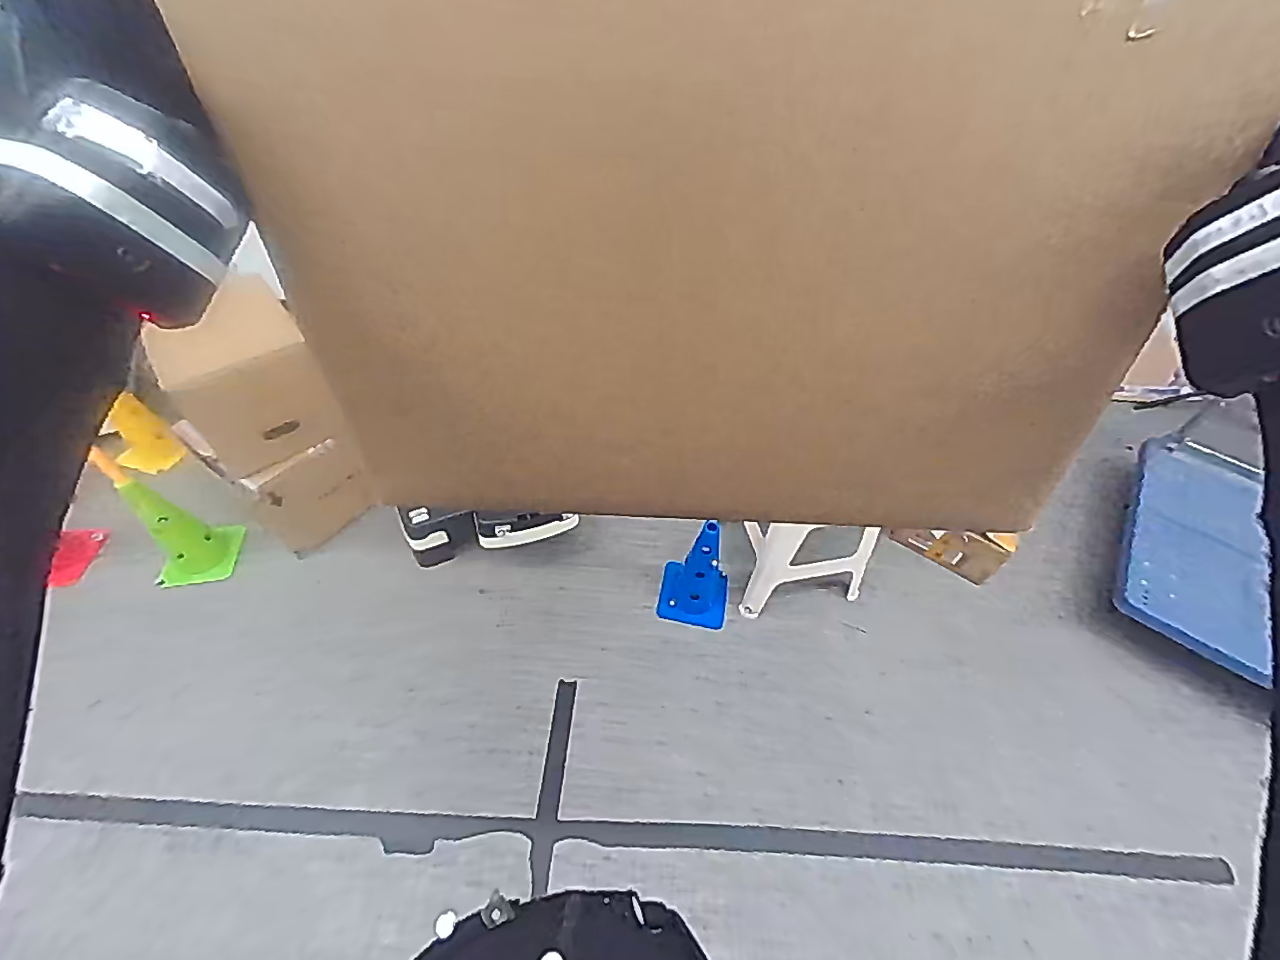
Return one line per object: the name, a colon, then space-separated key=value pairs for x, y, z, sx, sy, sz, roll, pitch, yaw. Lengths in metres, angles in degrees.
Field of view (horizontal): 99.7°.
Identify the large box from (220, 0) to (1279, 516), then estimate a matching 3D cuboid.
large box: x=0.044 y=-0.191 z=0.367 sx=0.408 sy=0.320 sz=0.320 roll=3 pitch=39 yaw=3
